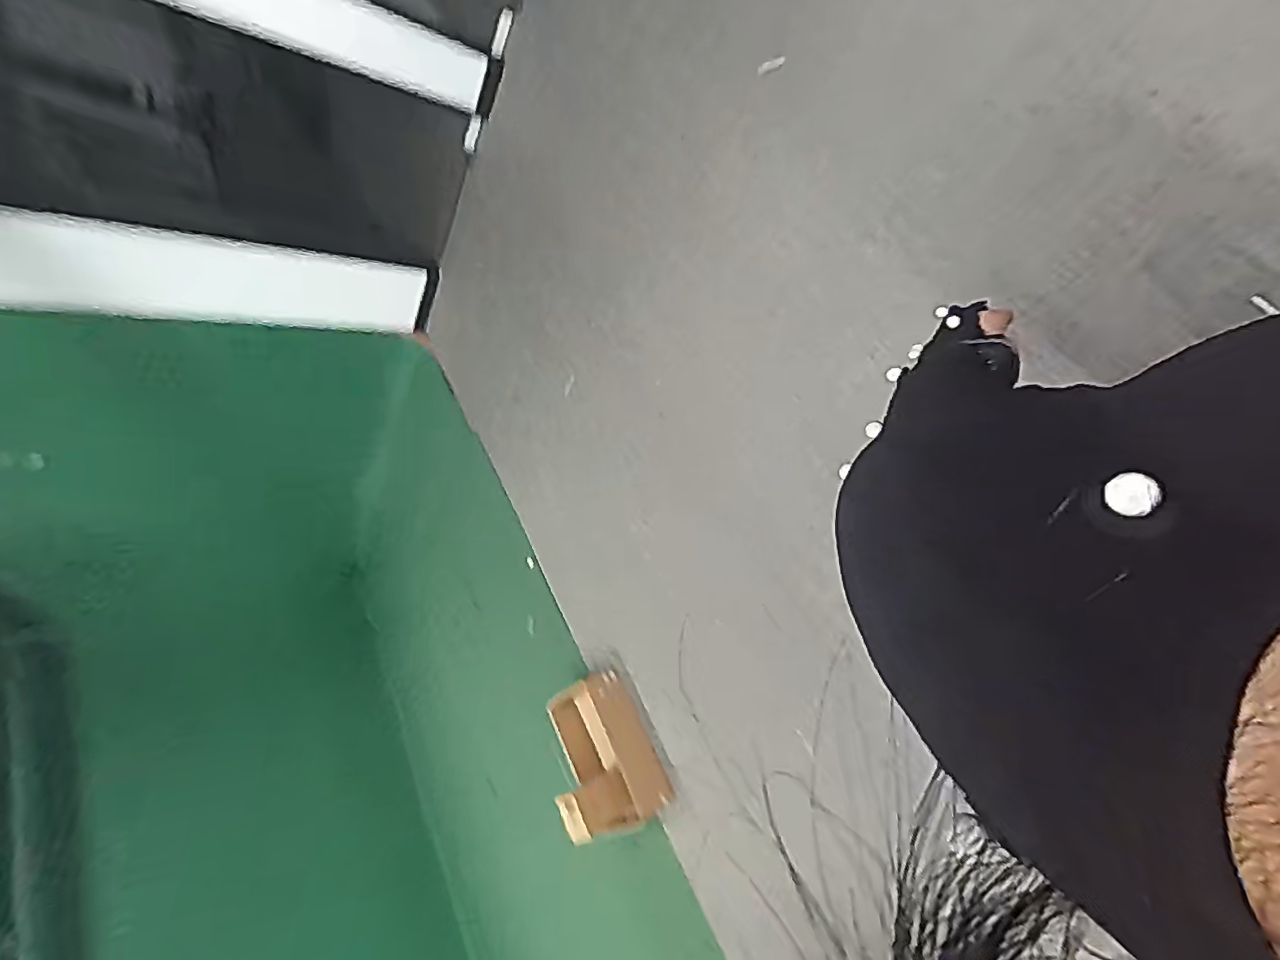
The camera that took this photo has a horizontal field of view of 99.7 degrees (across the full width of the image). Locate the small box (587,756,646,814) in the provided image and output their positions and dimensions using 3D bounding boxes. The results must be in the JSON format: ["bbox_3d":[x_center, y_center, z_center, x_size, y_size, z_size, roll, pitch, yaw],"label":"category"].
[{"bbox_3d":[-0.102,1.348,2.372,0.168,0.176,0.179,-47,62,39],"label":"small box"}]

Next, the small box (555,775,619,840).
[{"bbox_3d":[-0.220,1.361,2.258,0.168,0.176,0.179,-46,63,40],"label":"small box"}]
